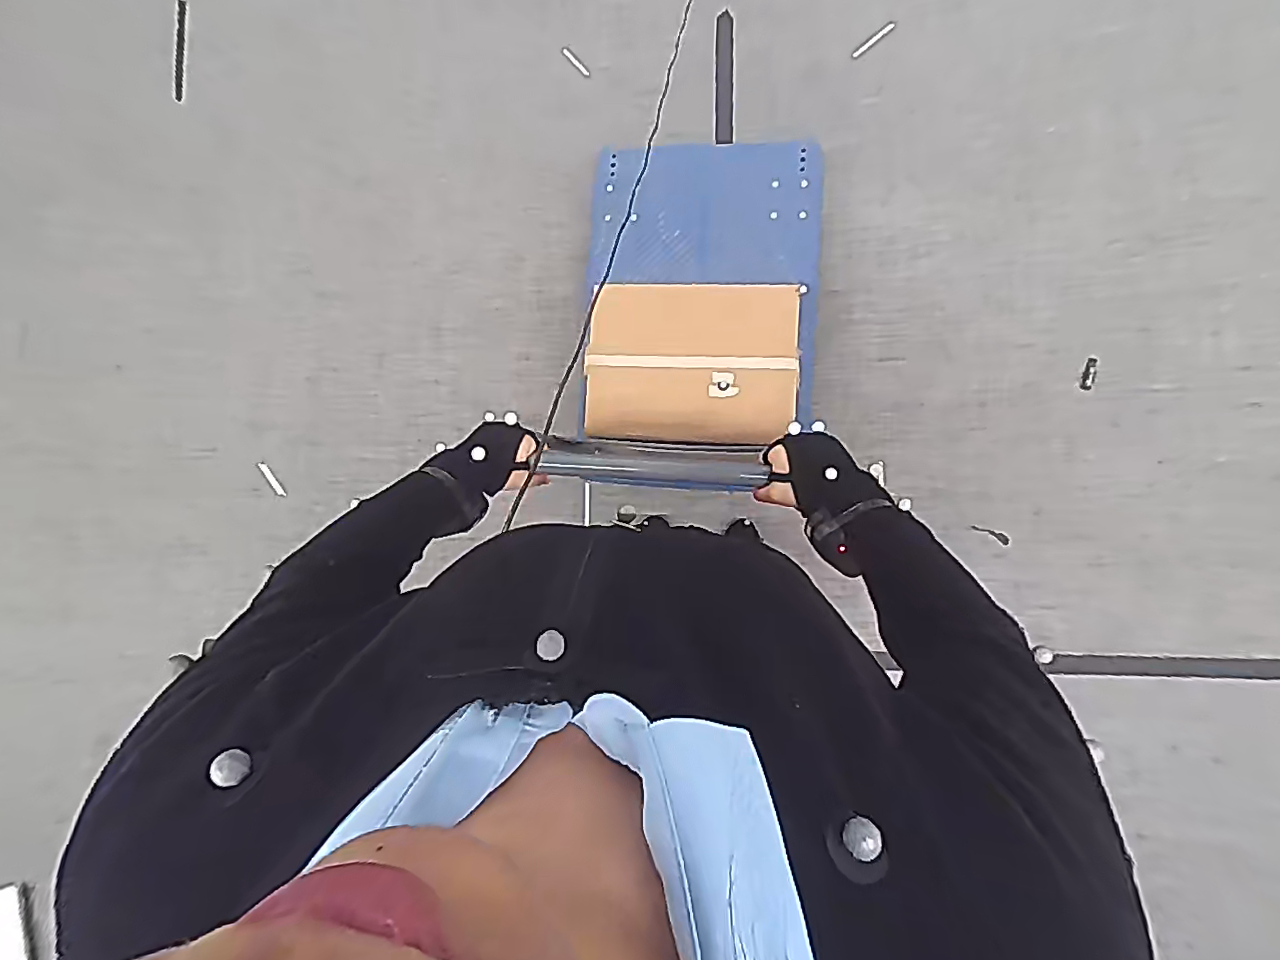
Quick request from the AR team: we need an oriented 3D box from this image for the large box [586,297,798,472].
[{"bbox_3d":[0.113,-0.189,1.186,0.408,0.320,0.320,3,87,7],"label":"large box"}]
